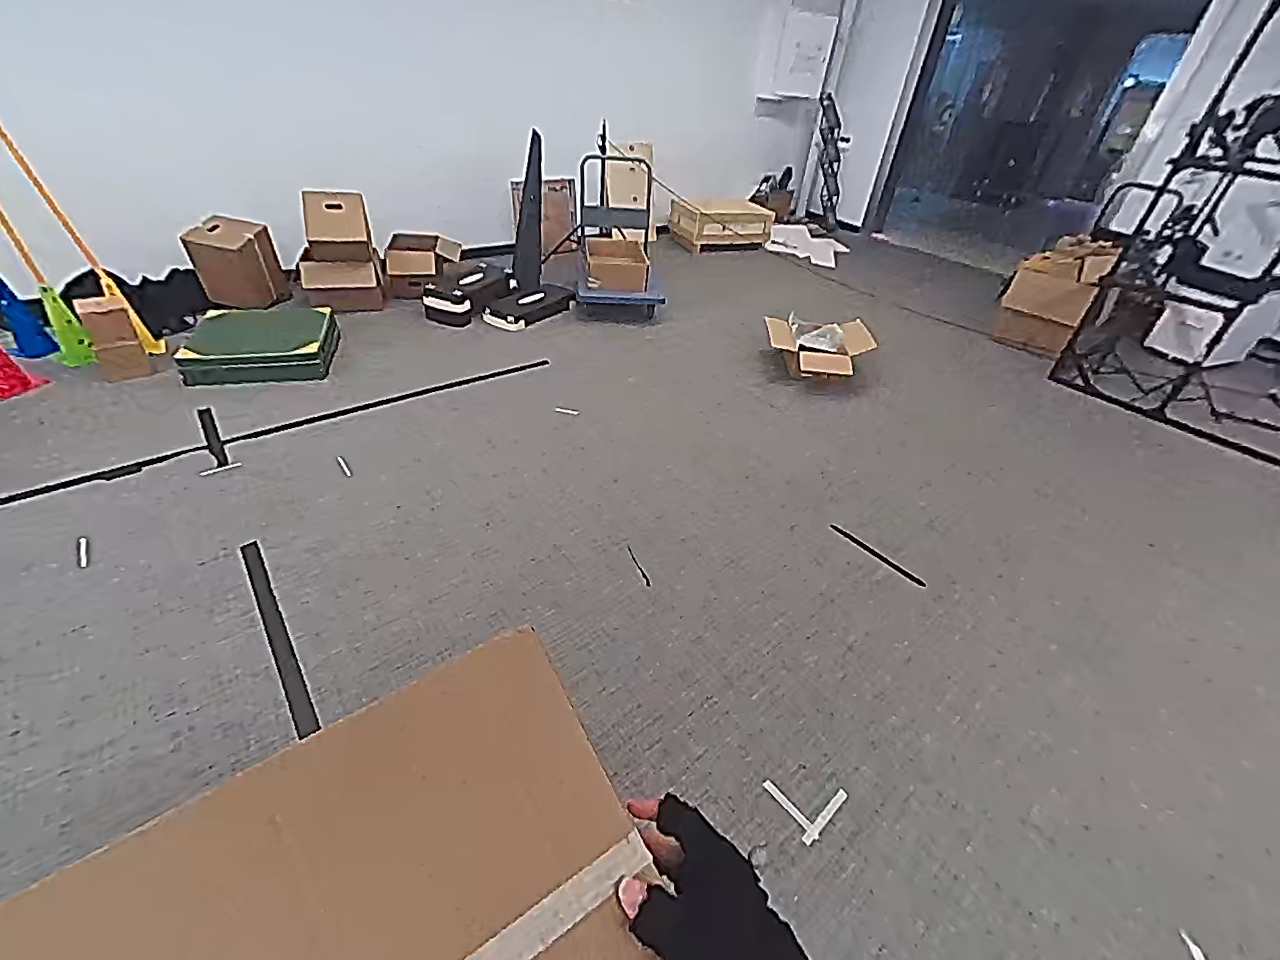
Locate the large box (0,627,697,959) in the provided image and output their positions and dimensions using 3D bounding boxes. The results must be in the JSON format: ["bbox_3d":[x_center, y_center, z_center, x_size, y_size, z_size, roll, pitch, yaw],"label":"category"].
[{"bbox_3d":[-0.207,0.365,0.401,0.408,0.320,0.320,-25,77,-24],"label":"large box"}]
